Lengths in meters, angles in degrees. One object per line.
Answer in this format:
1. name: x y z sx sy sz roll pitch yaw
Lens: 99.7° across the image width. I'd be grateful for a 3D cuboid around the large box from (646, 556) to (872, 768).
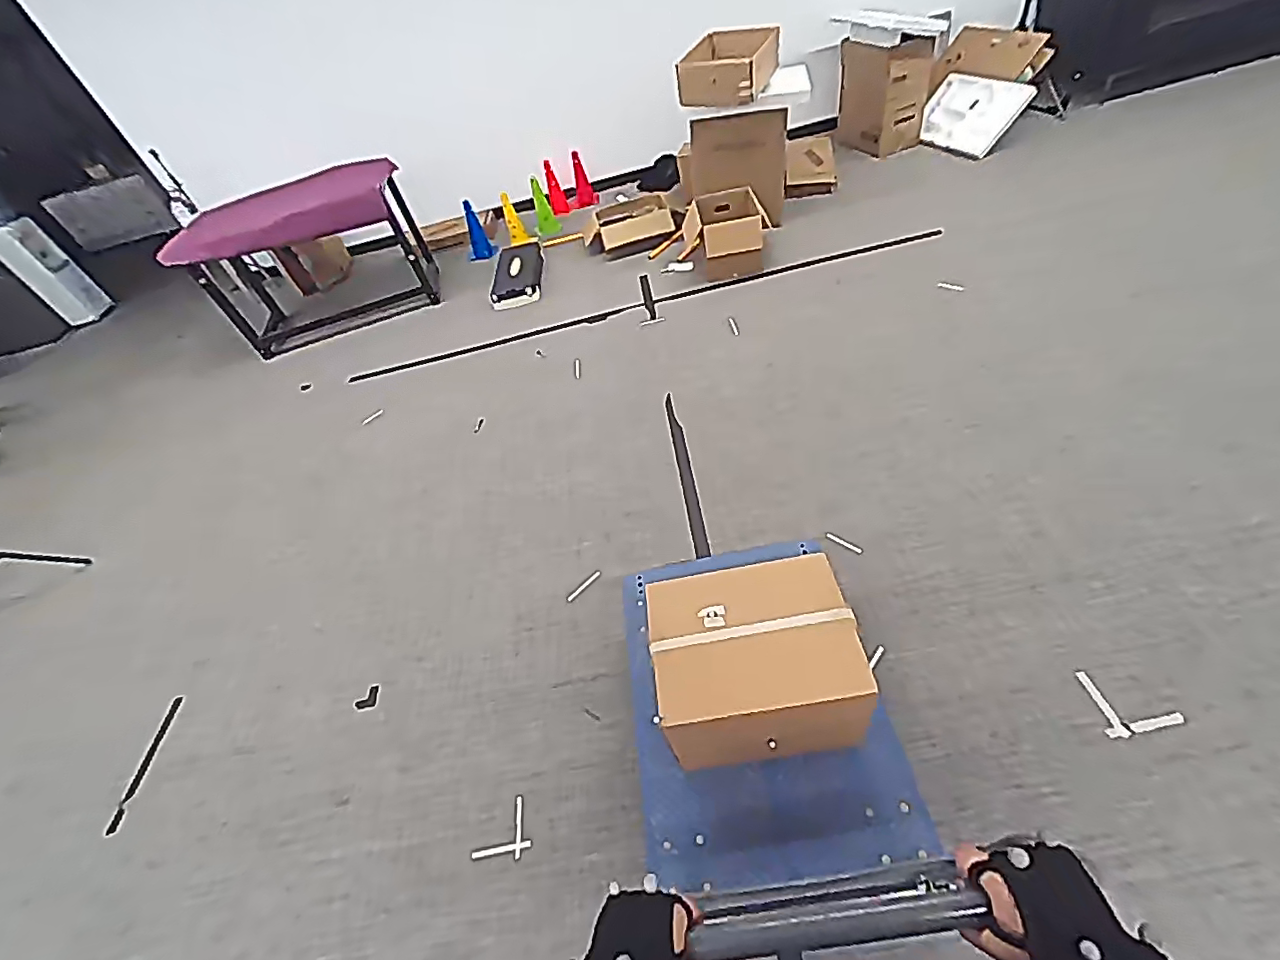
1. large box: 0.254 0.418 1.220 0.408 0.320 0.320 -12 45 5
